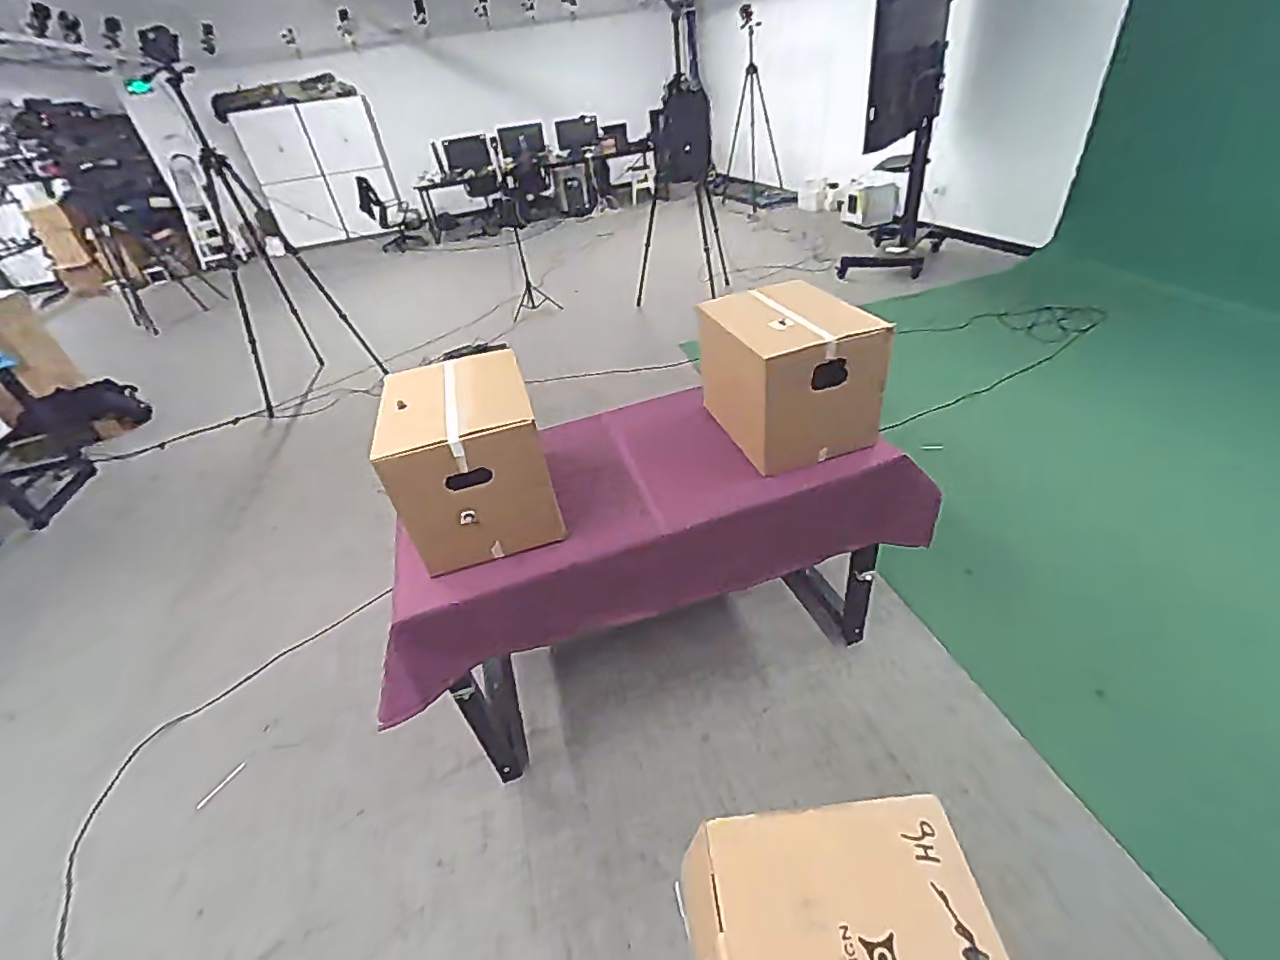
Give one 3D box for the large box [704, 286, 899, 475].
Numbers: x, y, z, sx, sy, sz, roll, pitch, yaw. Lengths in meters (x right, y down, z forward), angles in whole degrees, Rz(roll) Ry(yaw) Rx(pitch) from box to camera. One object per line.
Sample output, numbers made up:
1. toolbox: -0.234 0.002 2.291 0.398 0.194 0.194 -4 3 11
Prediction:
1. large box: 0.383 -0.272 1.401 0.320 0.320 0.408 -15 38 -9
